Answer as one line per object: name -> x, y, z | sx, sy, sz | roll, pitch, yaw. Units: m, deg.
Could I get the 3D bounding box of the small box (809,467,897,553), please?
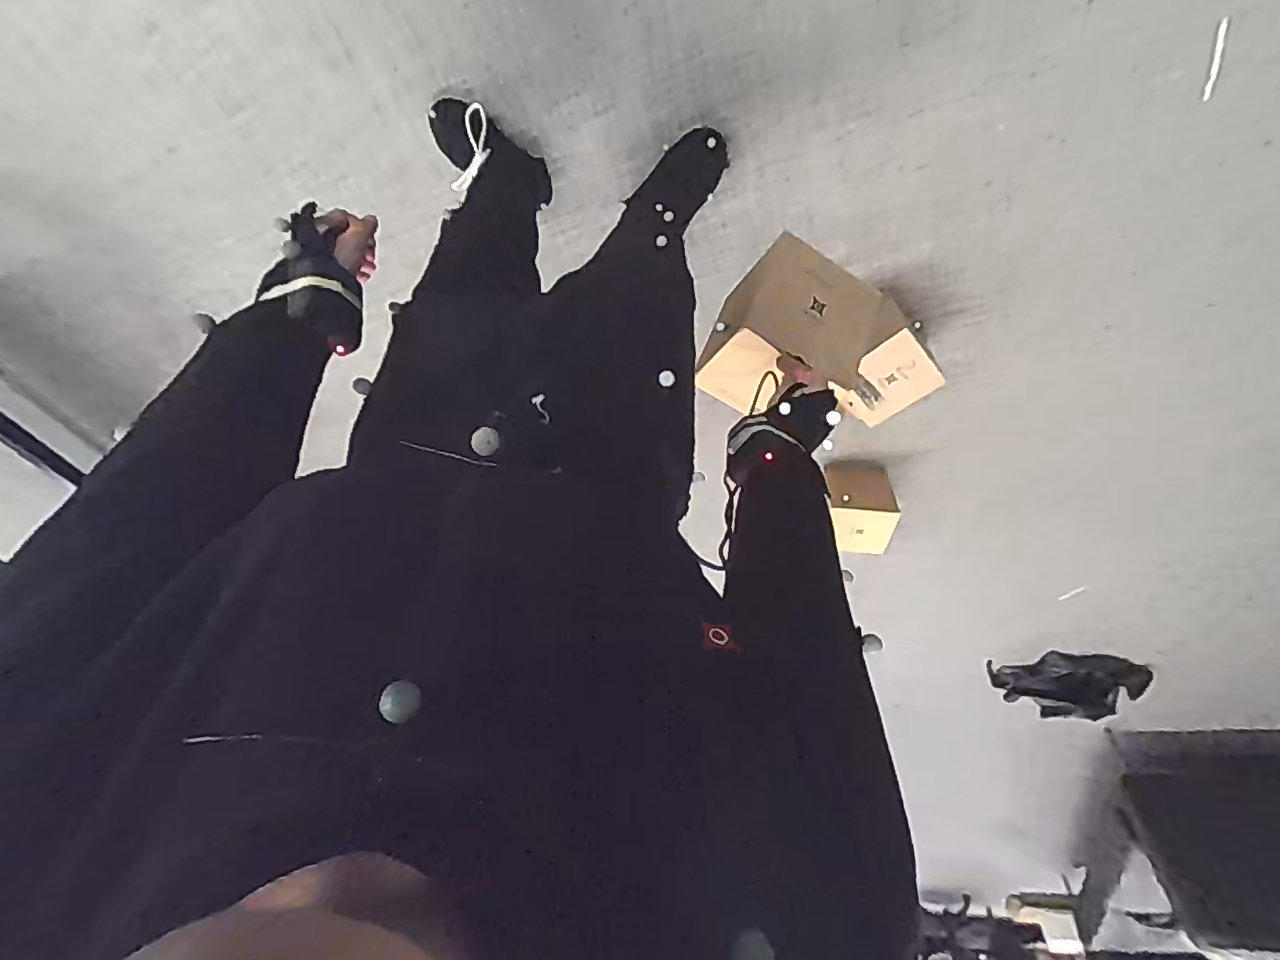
small box -> 0.573, 0.079, 1.477 | 0.179, 0.176, 0.168 | 5, 134, 6

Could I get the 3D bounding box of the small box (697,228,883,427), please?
small box -> 0.200, -0.200, 0.763 | 0.168, 0.179, 0.176 | 29, 160, -11
